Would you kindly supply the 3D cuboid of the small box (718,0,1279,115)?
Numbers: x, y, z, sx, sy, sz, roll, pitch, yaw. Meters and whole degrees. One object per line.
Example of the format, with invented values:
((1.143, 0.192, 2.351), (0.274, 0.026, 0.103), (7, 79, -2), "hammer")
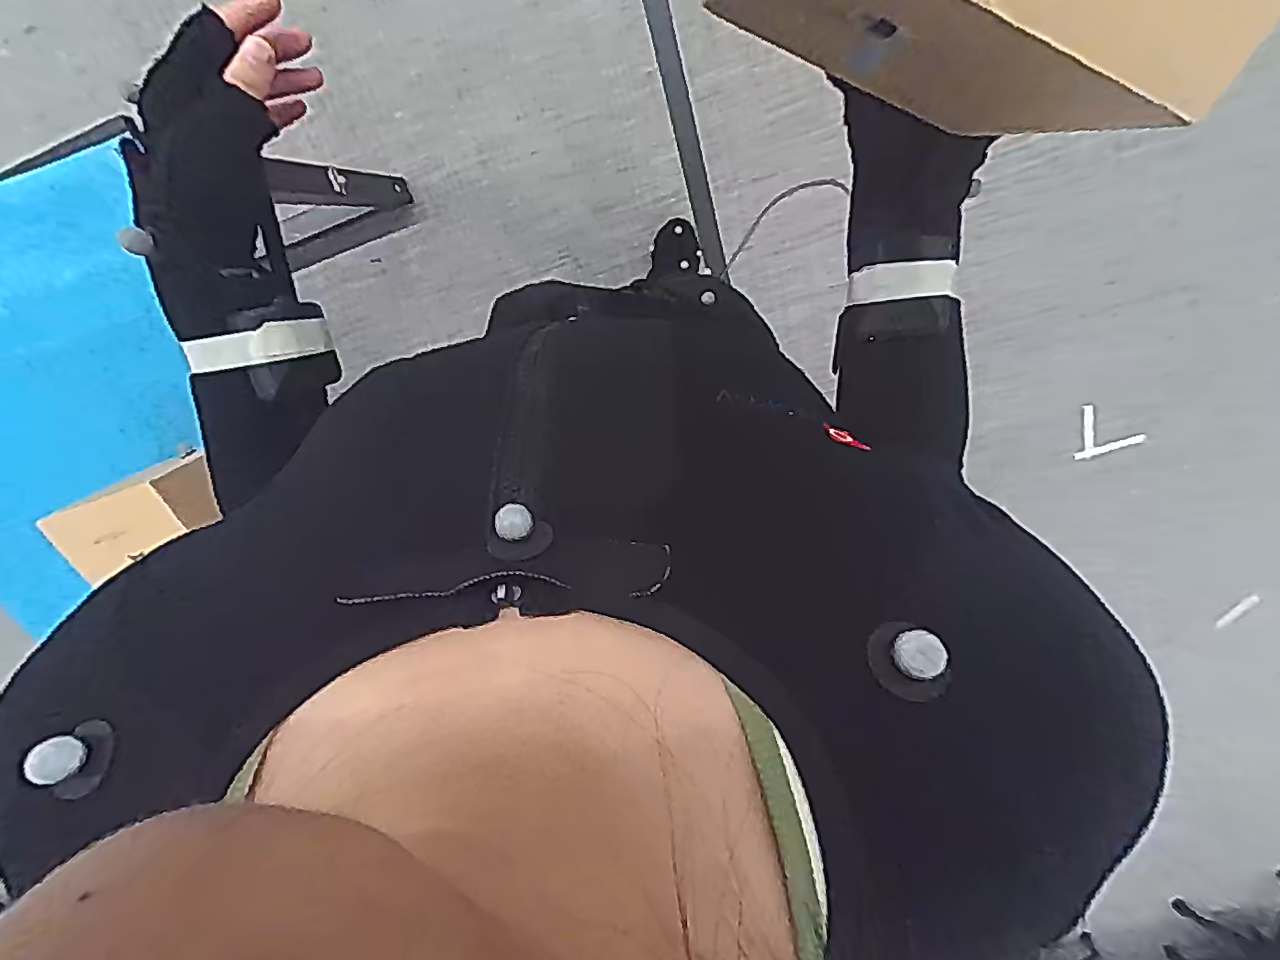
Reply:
((0.140, -0.259, 0.203), (0.179, 0.176, 0.168), (16, 120, -8), "small box")

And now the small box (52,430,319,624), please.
((-0.579, 0.057, 0.721), (0.168, 0.176, 0.179), (-16, 114, 10), "small box")
